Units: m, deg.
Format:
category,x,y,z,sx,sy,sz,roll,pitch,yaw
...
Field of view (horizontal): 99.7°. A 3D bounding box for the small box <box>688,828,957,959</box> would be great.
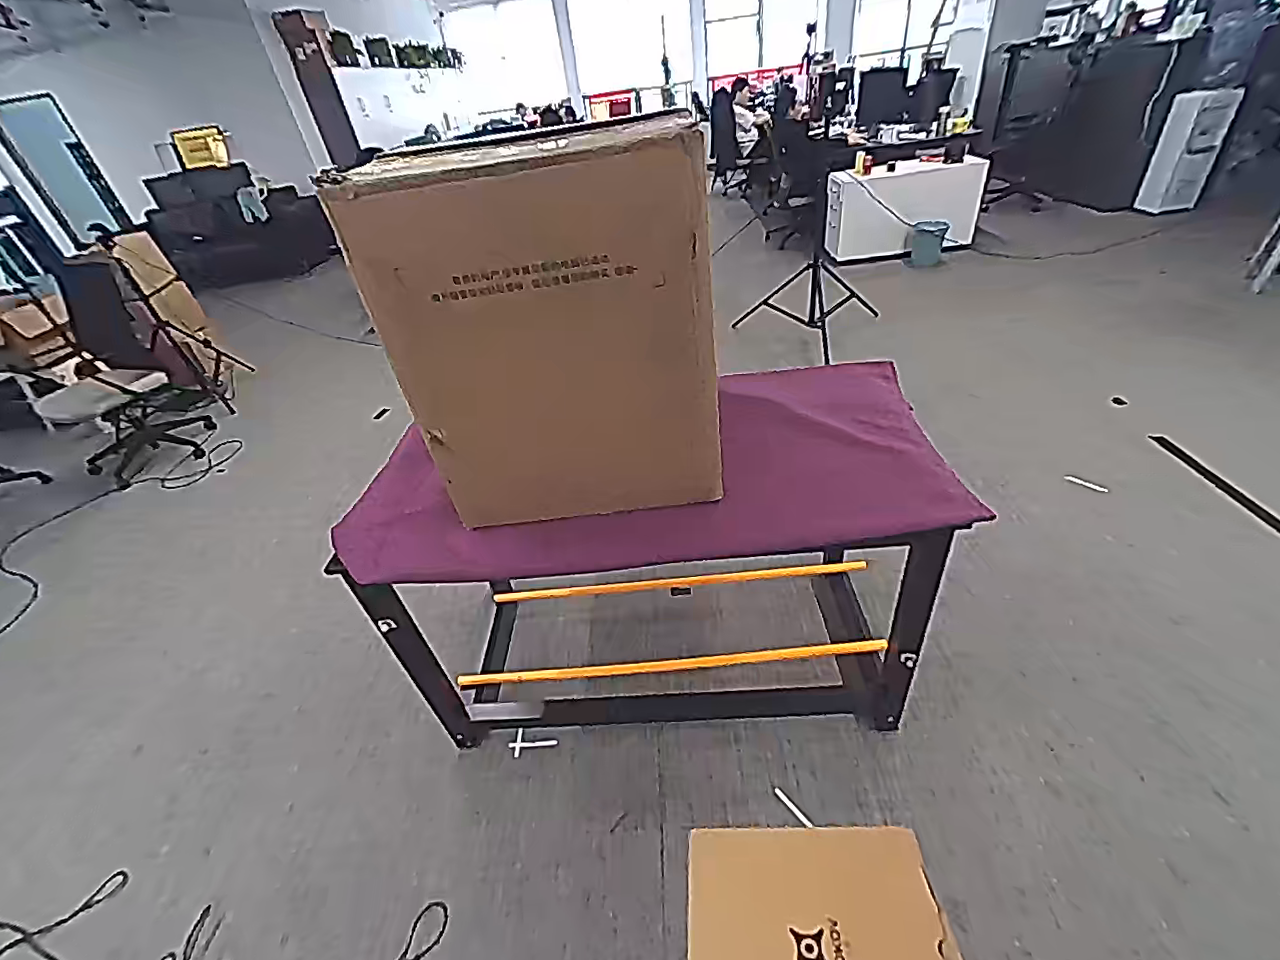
category,x,y,z,sx,sy,sz,roll,pitch,yaw
small box,0.132,0.389,0.392,0.179,0.176,0.168,-6,23,9
